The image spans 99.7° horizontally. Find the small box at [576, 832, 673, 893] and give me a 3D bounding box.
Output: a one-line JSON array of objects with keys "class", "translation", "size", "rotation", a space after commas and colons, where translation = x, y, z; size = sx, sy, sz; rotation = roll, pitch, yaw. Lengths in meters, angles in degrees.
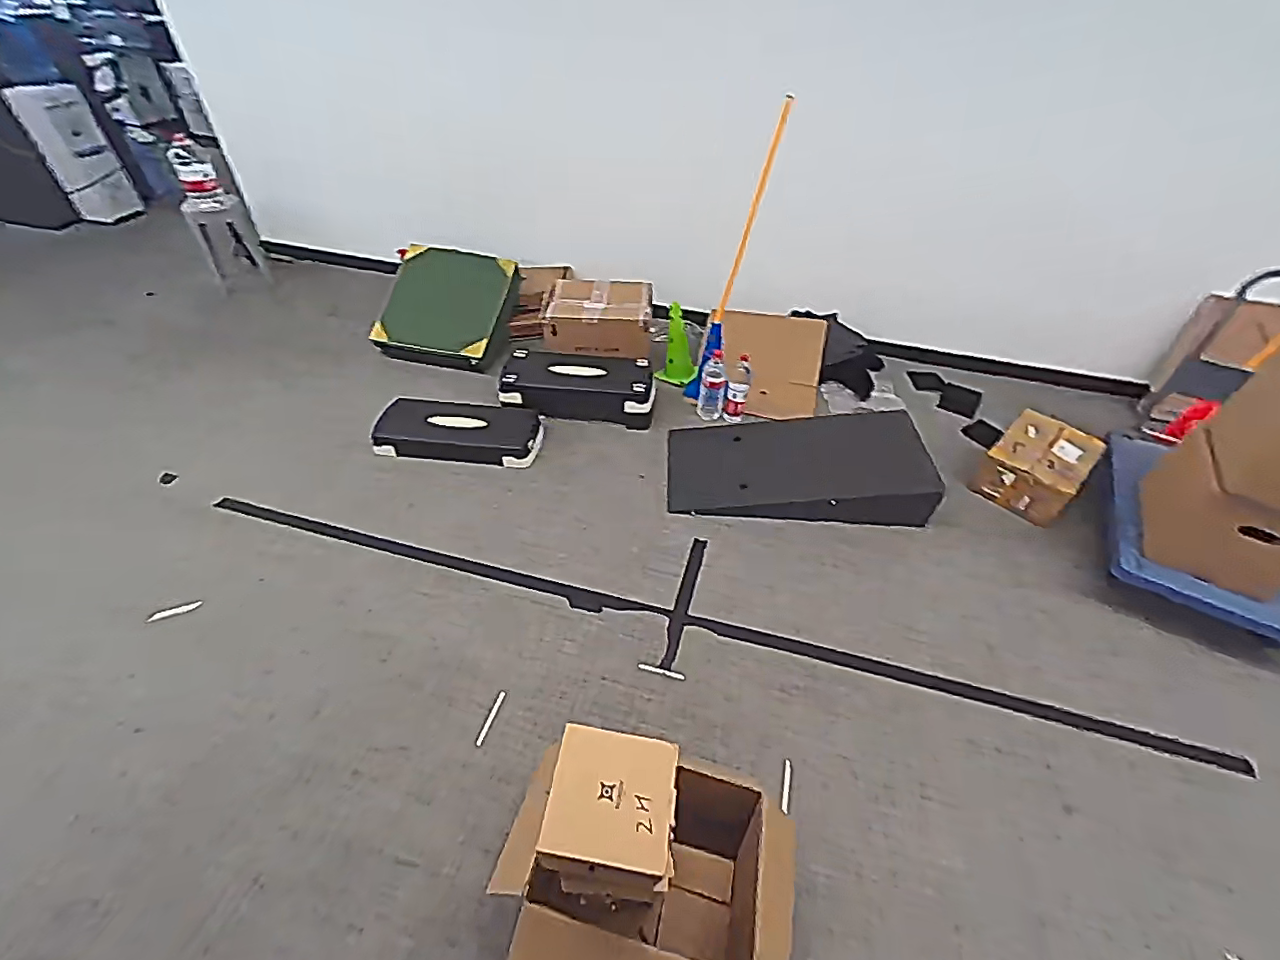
[{"class": "small box", "translation": [-0.037, 0.703, 1.071], "size": [0.179, 0.176, 0.168], "rotation": [0, 48, -7]}]

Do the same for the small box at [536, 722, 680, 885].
[{"class": "small box", "translation": [-0.045, 0.491, 0.817], "size": [0.179, 0.176, 0.168], "rotation": [11, 49, 3]}]
